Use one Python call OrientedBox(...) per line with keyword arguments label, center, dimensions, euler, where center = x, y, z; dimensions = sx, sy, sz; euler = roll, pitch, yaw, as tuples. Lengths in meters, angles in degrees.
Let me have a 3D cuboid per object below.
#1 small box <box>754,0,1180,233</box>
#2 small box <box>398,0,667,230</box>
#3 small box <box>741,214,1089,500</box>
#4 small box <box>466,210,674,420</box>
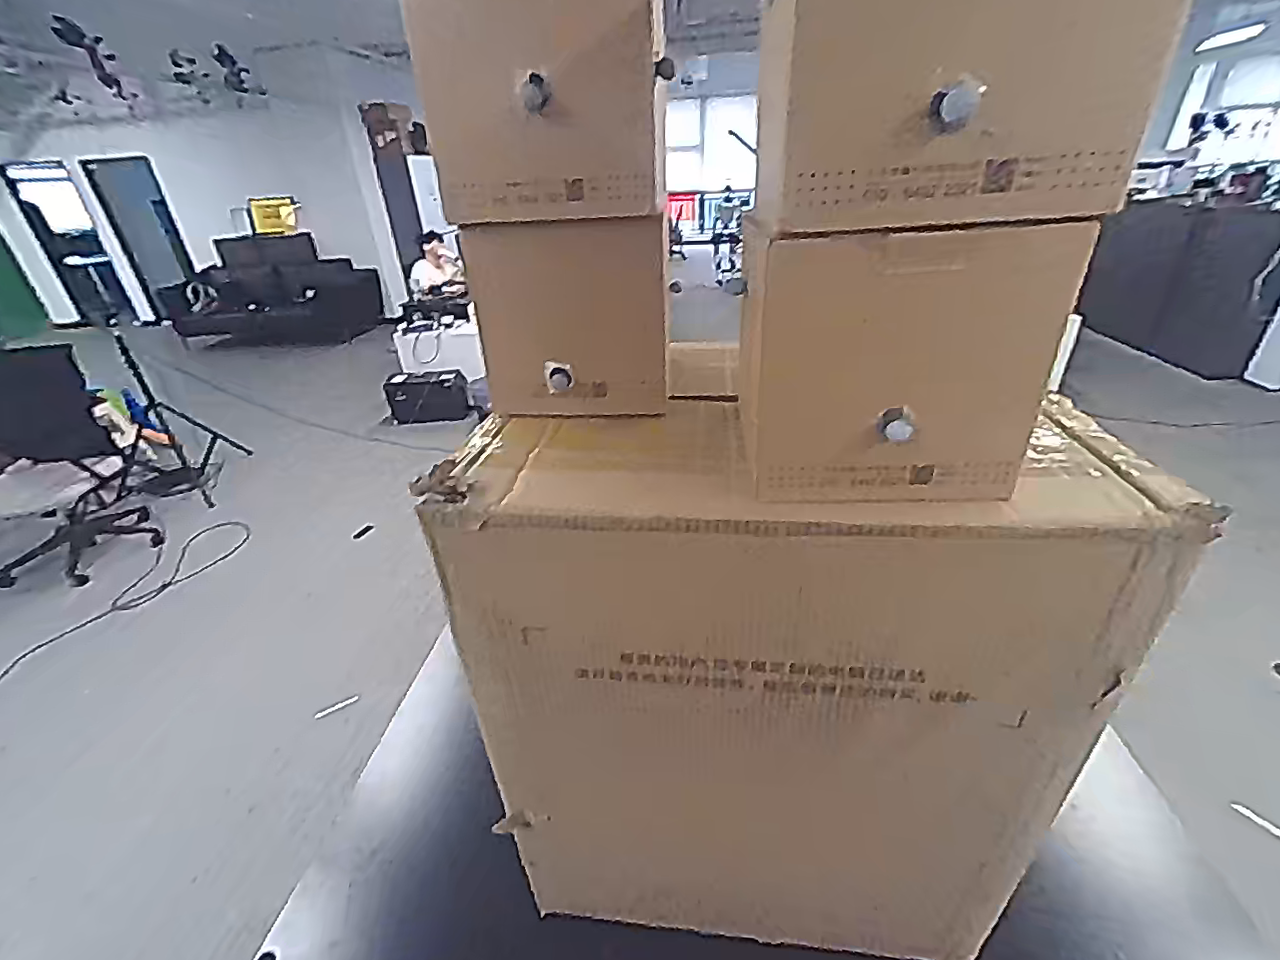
OrientedBox(label="small box", center=(0.157, -0.240, 0.310), dimensions=(0.168, 0.176, 0.179), euler=(-1, 30, 7))
OrientedBox(label="small box", center=(-0.065, -0.303, 0.445), dimensions=(0.168, 0.176, 0.179), euler=(-1, 30, 5))
OrientedBox(label="small box", center=(0.163, -0.100, 0.396), dimensions=(0.168, 0.176, 0.179), euler=(-1, 30, 7))
OrientedBox(label="small box", center=(-0.052, -0.168, 0.538), dimensions=(0.168, 0.176, 0.179), euler=(-2, 30, 4))
